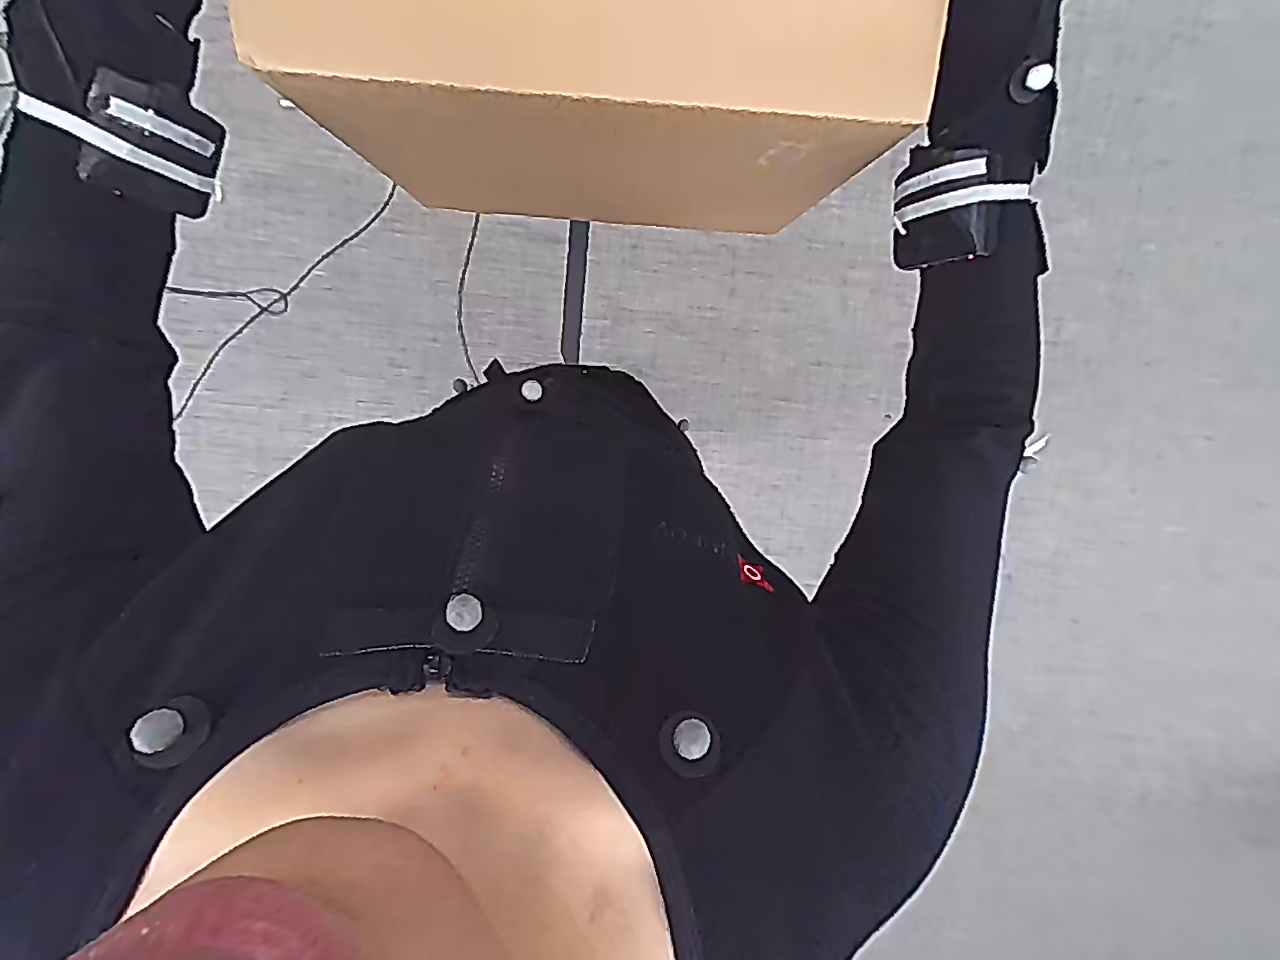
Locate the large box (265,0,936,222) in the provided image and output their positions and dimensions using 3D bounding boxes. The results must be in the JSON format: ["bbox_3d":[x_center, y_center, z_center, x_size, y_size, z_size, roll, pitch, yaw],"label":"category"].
[{"bbox_3d":[-0.024,-0.418,0.441,0.408,0.320,0.320,2,104,-4],"label":"large box"}]
